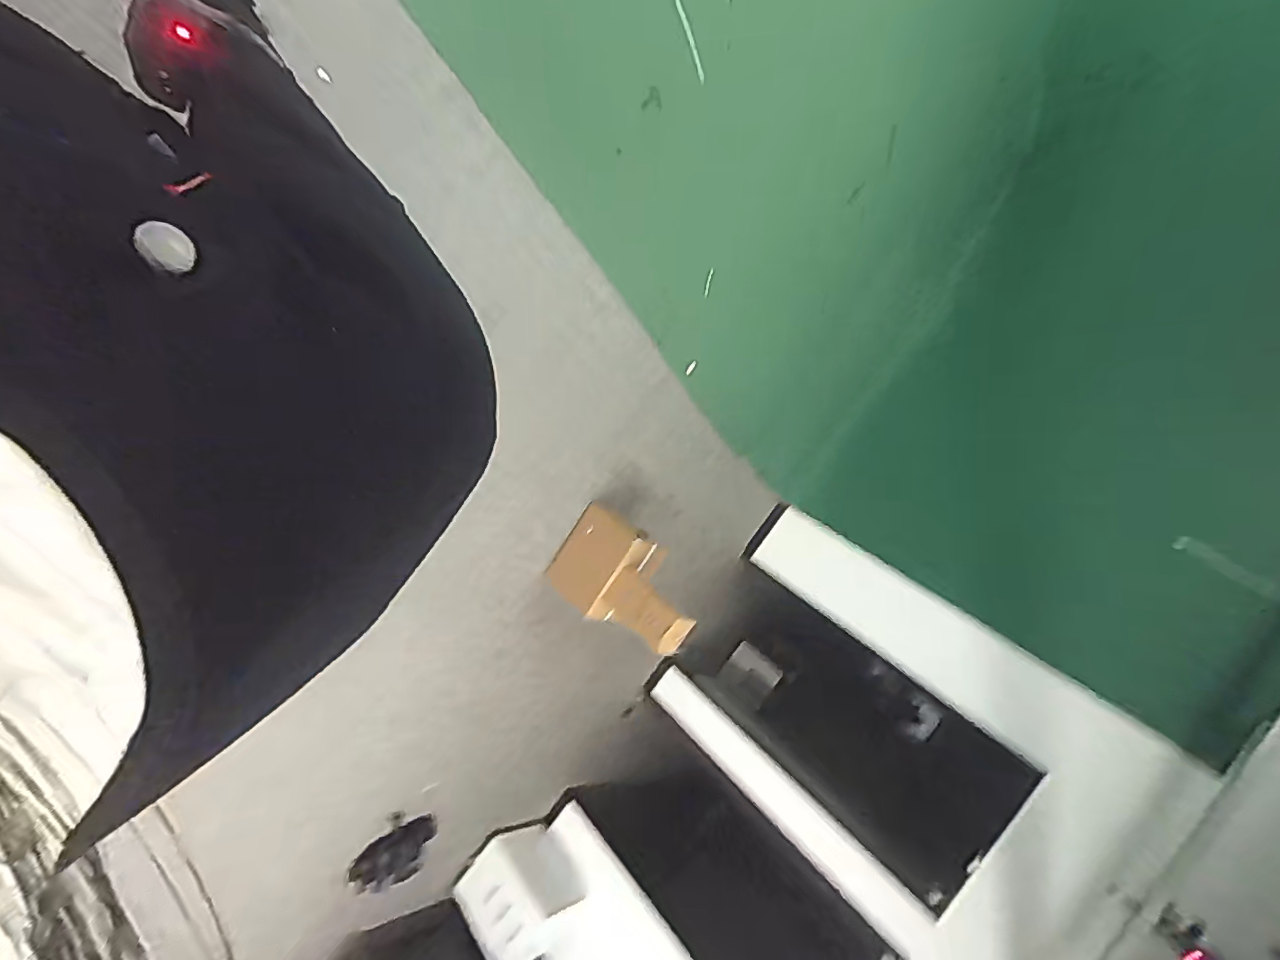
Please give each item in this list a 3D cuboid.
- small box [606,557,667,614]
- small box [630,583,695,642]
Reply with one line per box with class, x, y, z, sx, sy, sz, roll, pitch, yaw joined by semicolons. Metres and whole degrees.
small box;-0.023;0.456;2.299;0.179;0.176;0.168;-55;146;0
small box;0.089;0.541;2.215;0.168;0.176;0.179;-55;146;2
